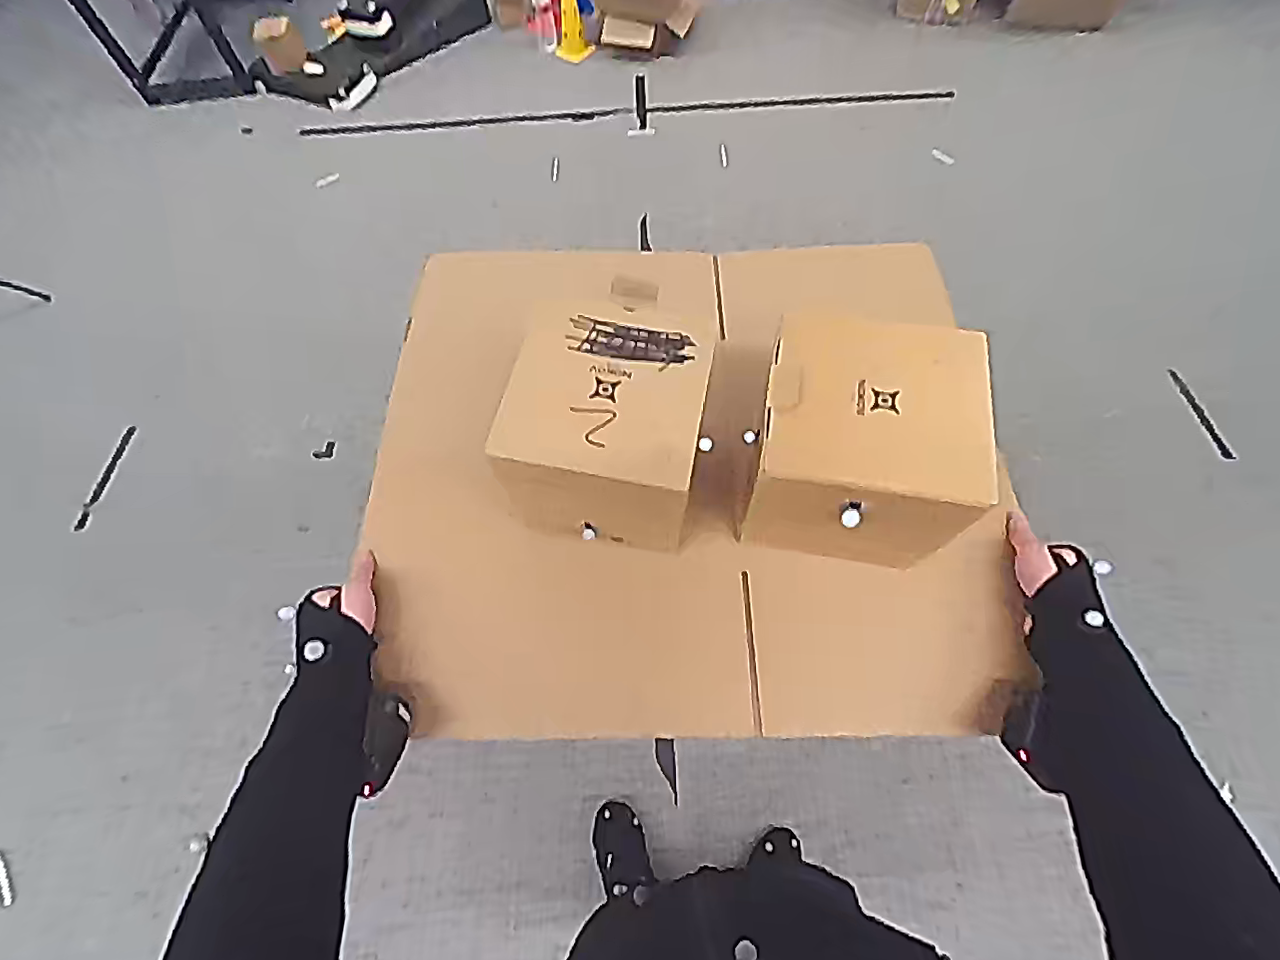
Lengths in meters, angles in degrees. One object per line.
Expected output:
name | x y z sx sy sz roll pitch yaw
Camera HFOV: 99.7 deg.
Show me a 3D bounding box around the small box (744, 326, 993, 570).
small box | 0.205 -0.021 0.523 0.179 0.176 0.168 9 66 10
